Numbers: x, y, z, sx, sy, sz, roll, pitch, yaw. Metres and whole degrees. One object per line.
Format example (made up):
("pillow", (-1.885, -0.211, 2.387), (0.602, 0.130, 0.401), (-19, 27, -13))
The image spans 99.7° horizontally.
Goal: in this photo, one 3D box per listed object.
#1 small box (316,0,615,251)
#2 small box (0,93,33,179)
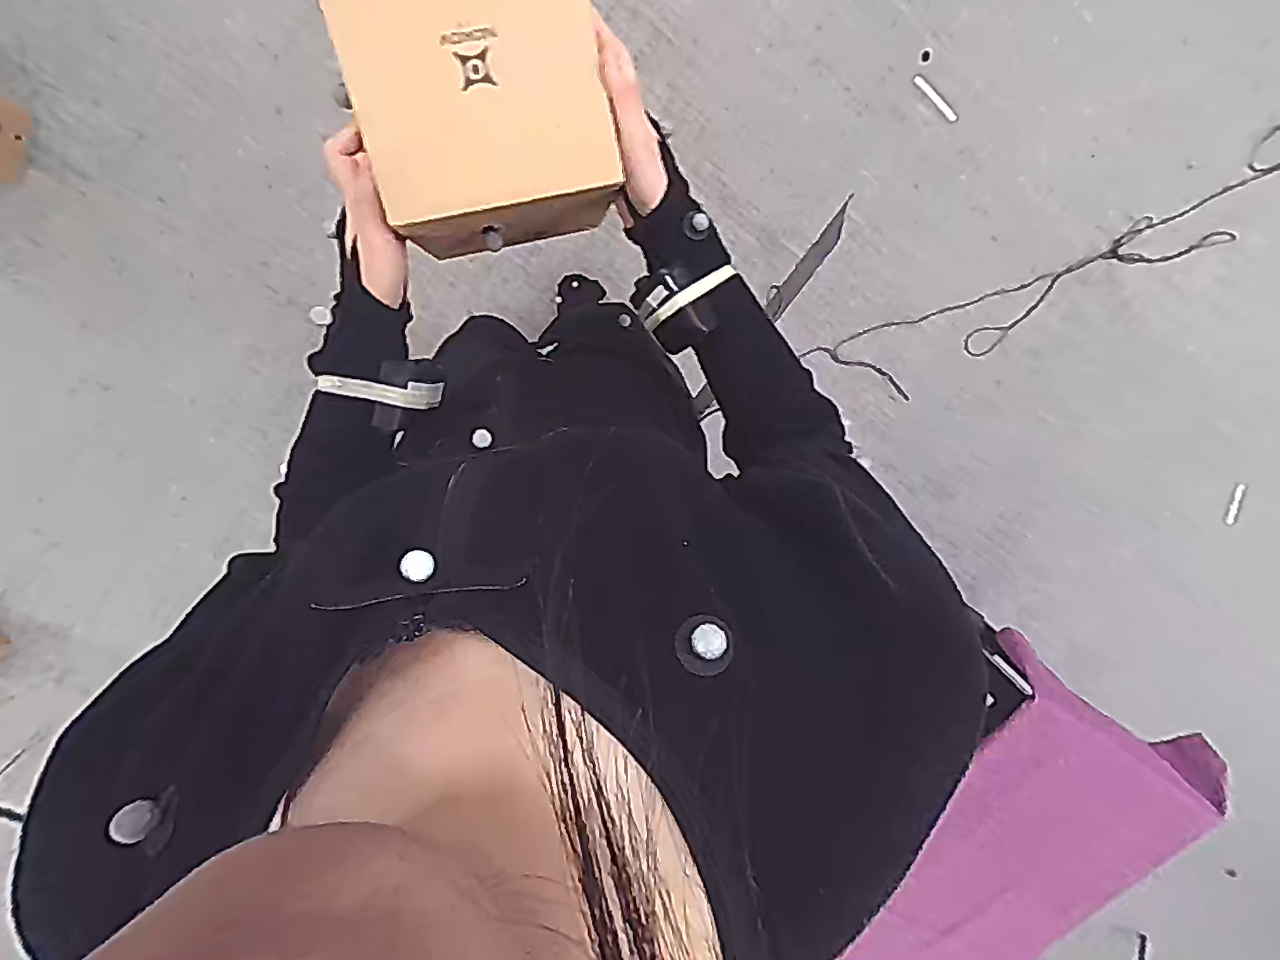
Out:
("small box", (-0.122, -0.291, 0.426), (0.168, 0.176, 0.179), (-14, 105, -5))
("small box", (-1.406, -0.736, 1.088), (0.179, 0.176, 0.168), (29, 105, -13))
